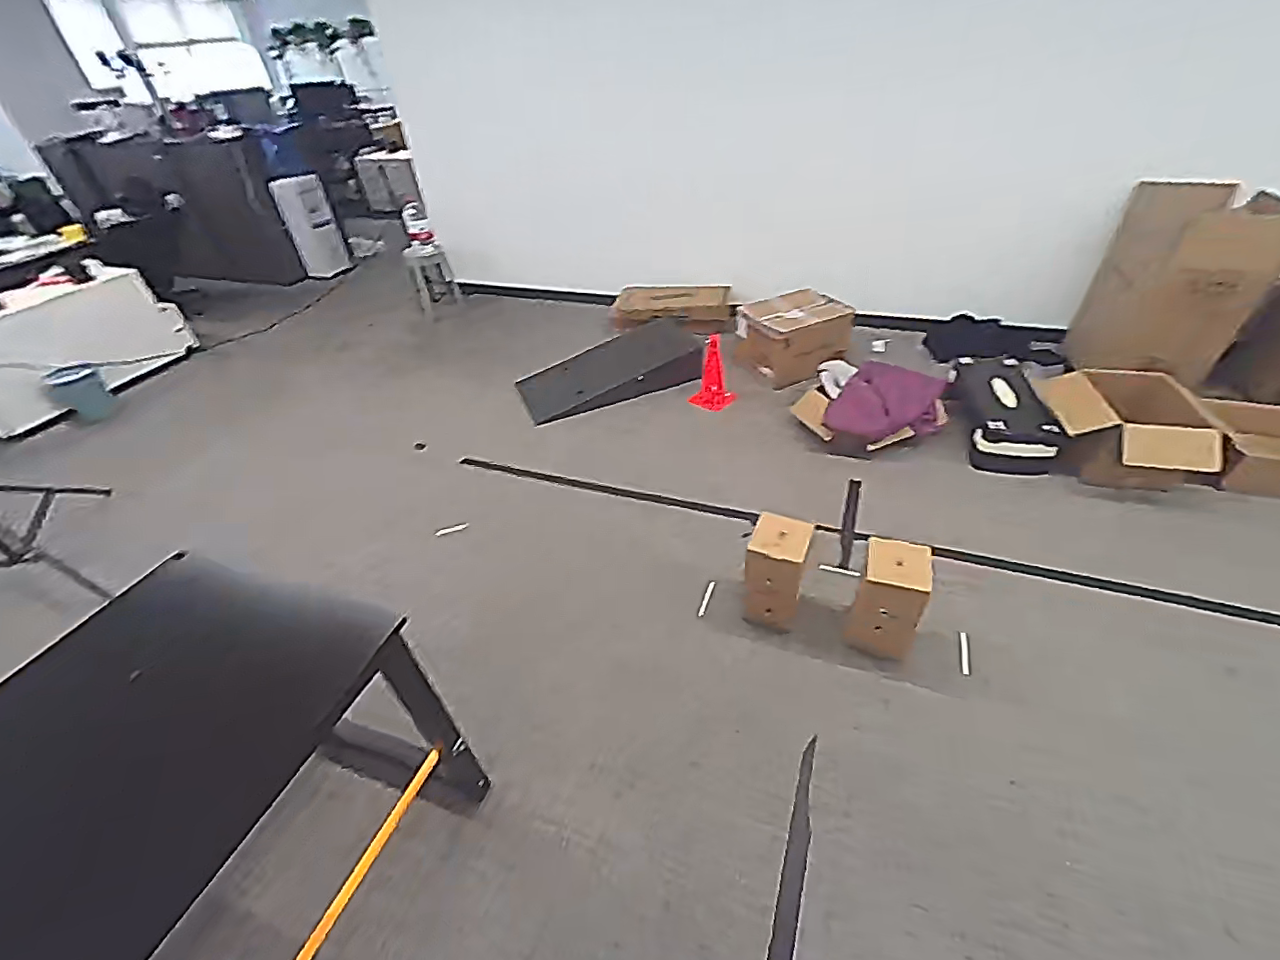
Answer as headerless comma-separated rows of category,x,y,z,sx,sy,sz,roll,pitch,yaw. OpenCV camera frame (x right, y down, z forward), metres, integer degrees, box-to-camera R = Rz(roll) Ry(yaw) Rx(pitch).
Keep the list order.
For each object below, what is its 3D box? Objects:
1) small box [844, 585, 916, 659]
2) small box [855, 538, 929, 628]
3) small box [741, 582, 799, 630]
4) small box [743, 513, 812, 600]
small box,0.743,0.426,1.675,0.179,0.176,0.168,14,43,20
small box,0.728,0.299,1.574,0.168,0.176,0.179,9,43,18
small box,0.430,0.365,1.778,0.168,0.176,0.179,10,42,18
small box,0.422,0.236,1.674,0.168,0.176,0.179,14,43,22
